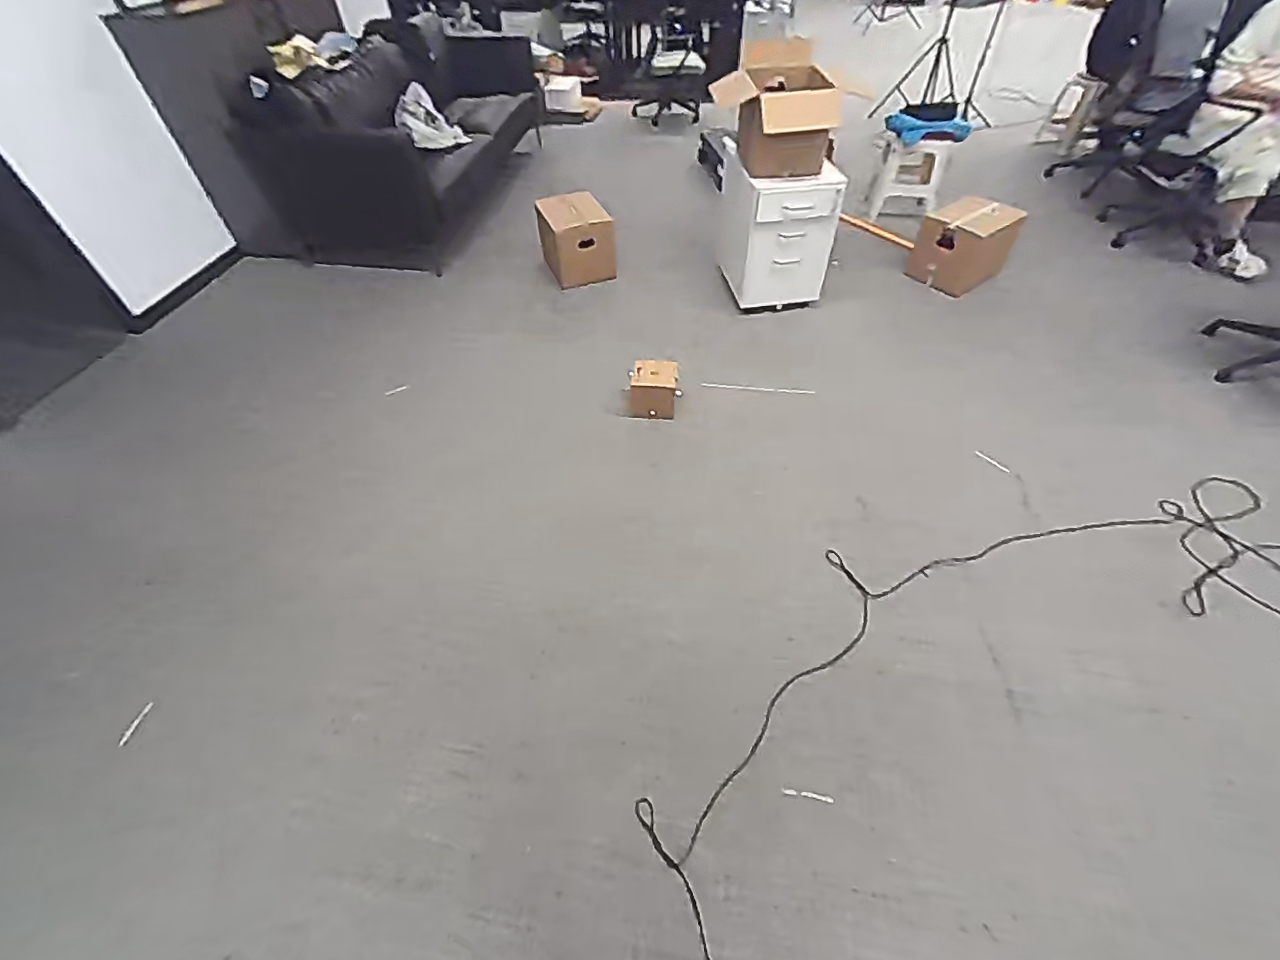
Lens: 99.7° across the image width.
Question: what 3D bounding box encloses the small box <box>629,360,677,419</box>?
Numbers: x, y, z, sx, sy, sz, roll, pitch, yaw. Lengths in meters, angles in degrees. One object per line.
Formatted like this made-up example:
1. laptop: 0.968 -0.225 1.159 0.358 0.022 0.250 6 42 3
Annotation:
1. small box: 0.055 -0.364 2.191 0.179 0.176 0.168 5 49 6
